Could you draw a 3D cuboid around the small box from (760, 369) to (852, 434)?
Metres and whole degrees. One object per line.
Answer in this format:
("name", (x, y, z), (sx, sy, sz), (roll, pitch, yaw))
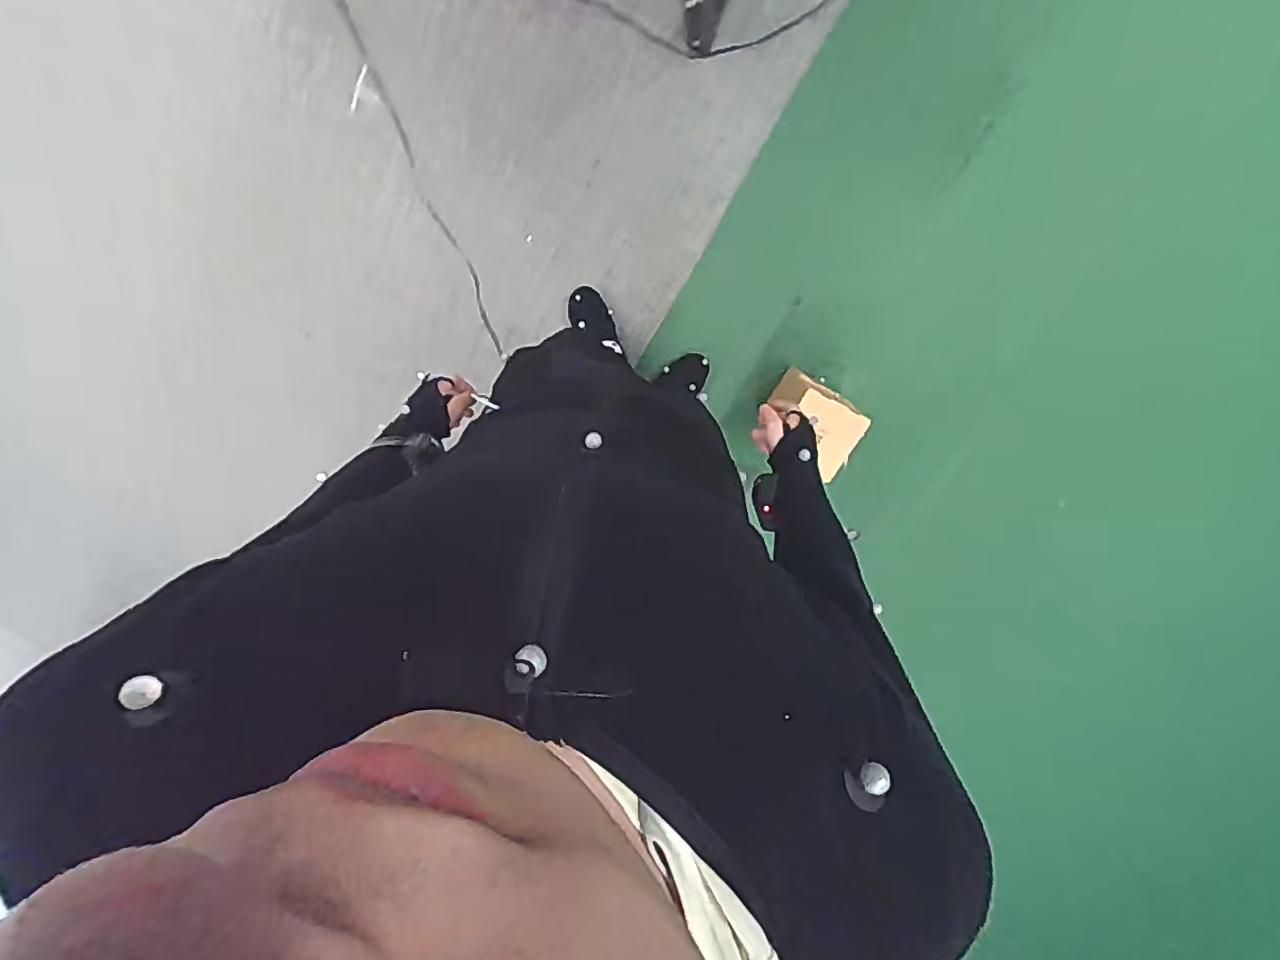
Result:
("small box", (0.441, -0.181, 1.473), (0.168, 0.176, 0.179), (31, 109, -4))

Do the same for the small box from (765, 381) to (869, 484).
("small box", (0.420, -0.123, 1.322), (0.168, 0.176, 0.179), (28, 109, -3))
